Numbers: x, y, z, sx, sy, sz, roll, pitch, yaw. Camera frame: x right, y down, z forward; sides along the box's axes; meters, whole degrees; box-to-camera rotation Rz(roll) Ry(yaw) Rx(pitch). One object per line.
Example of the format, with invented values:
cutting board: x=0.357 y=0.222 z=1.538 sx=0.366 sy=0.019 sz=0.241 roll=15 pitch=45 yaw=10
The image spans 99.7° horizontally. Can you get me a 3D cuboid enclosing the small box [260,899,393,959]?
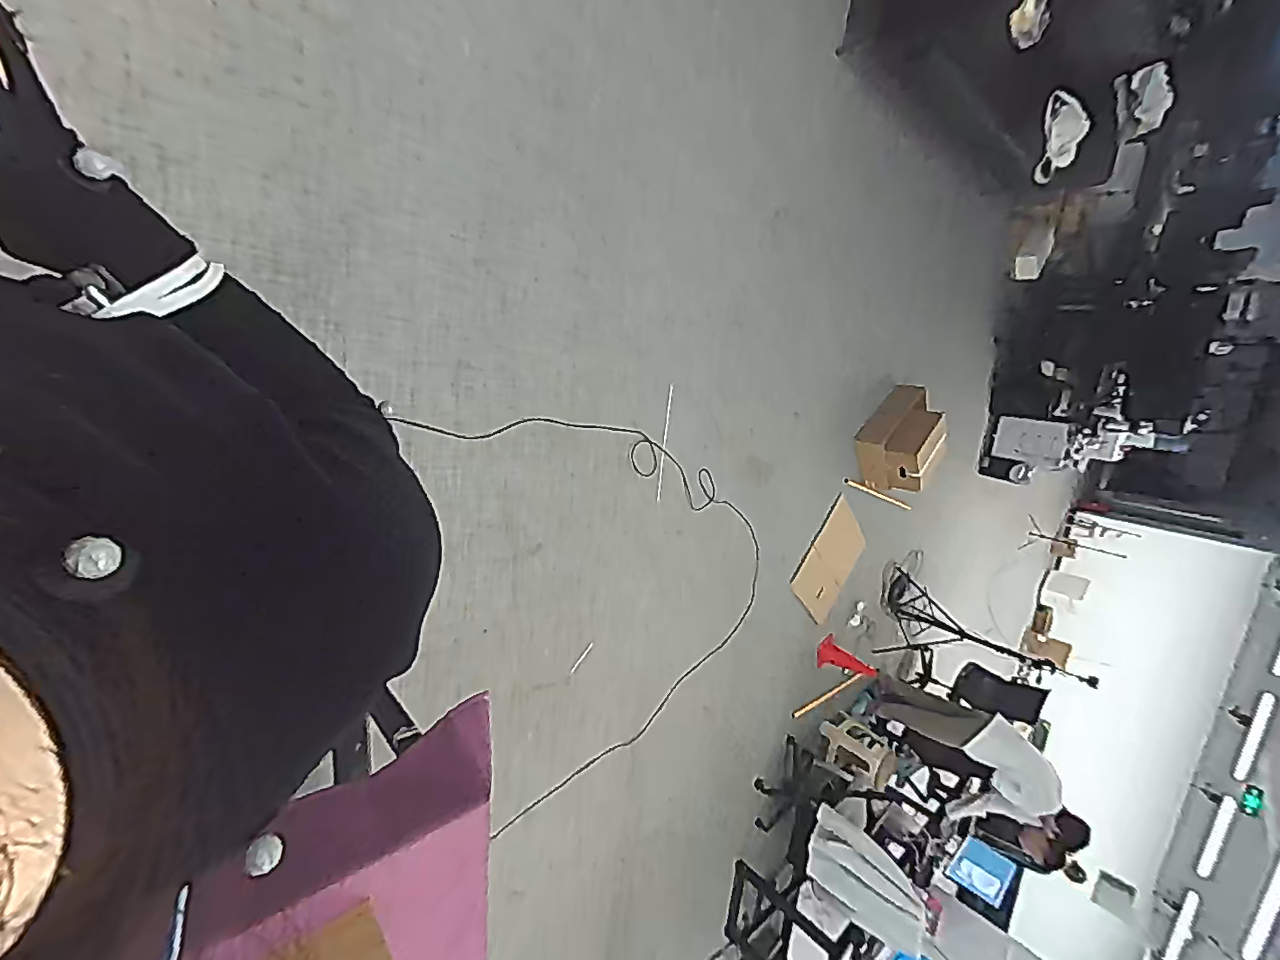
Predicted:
small box: x=-0.473 y=0.796 z=0.807 sx=0.179 sy=0.176 sz=0.168 roll=-8 pitch=109 yaw=-42
